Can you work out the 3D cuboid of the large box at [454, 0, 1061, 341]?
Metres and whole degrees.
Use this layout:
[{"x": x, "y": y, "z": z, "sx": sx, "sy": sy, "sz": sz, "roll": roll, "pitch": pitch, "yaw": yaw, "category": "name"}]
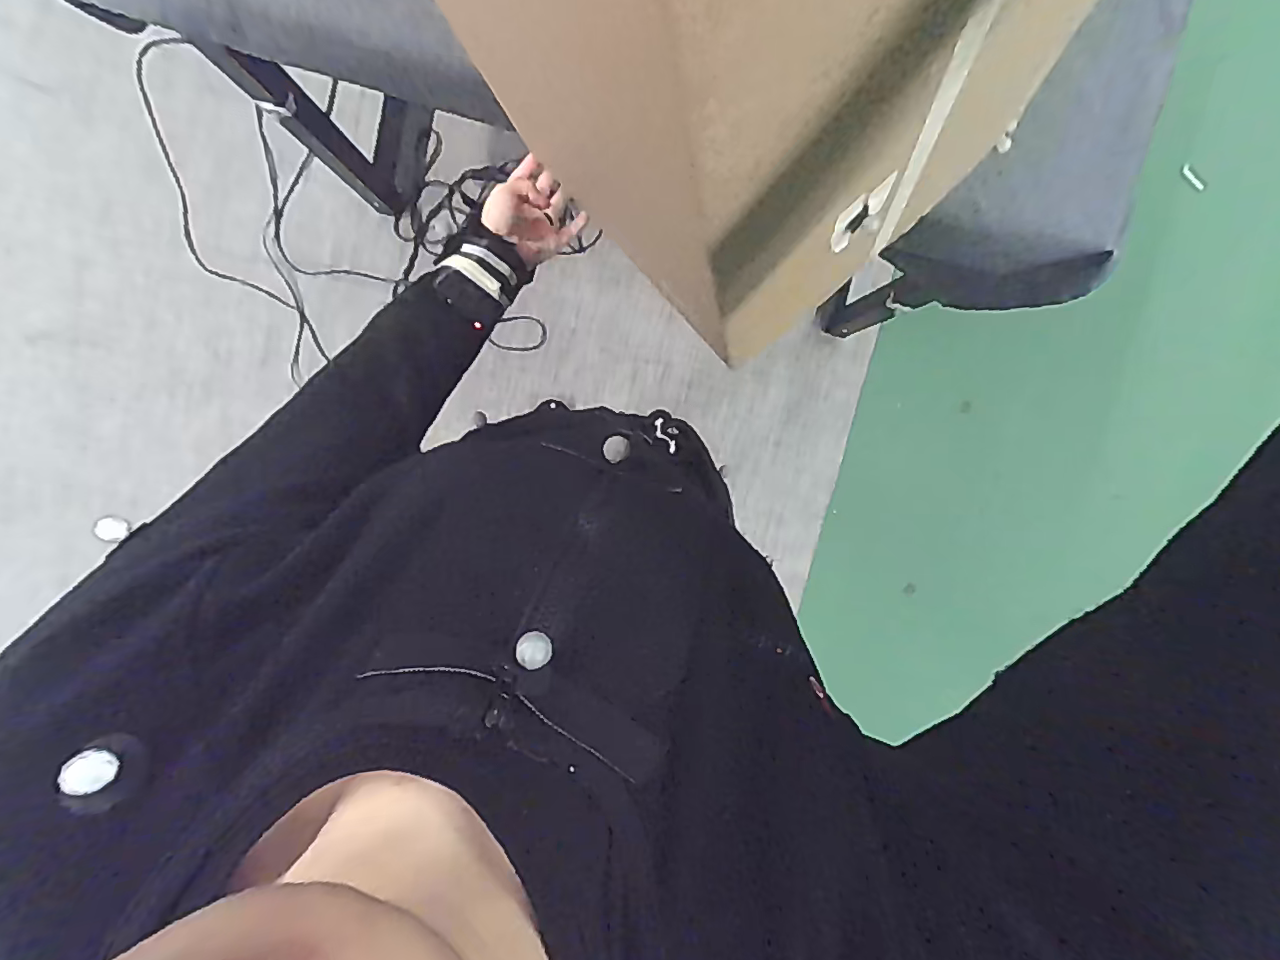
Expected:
[{"x": 0.064, "y": -0.343, "z": 0.318, "sx": 0.320, "sy": 0.408, "sz": 0.320, "roll": -42, "pitch": 82, "yaw": 8, "category": "large box"}]
